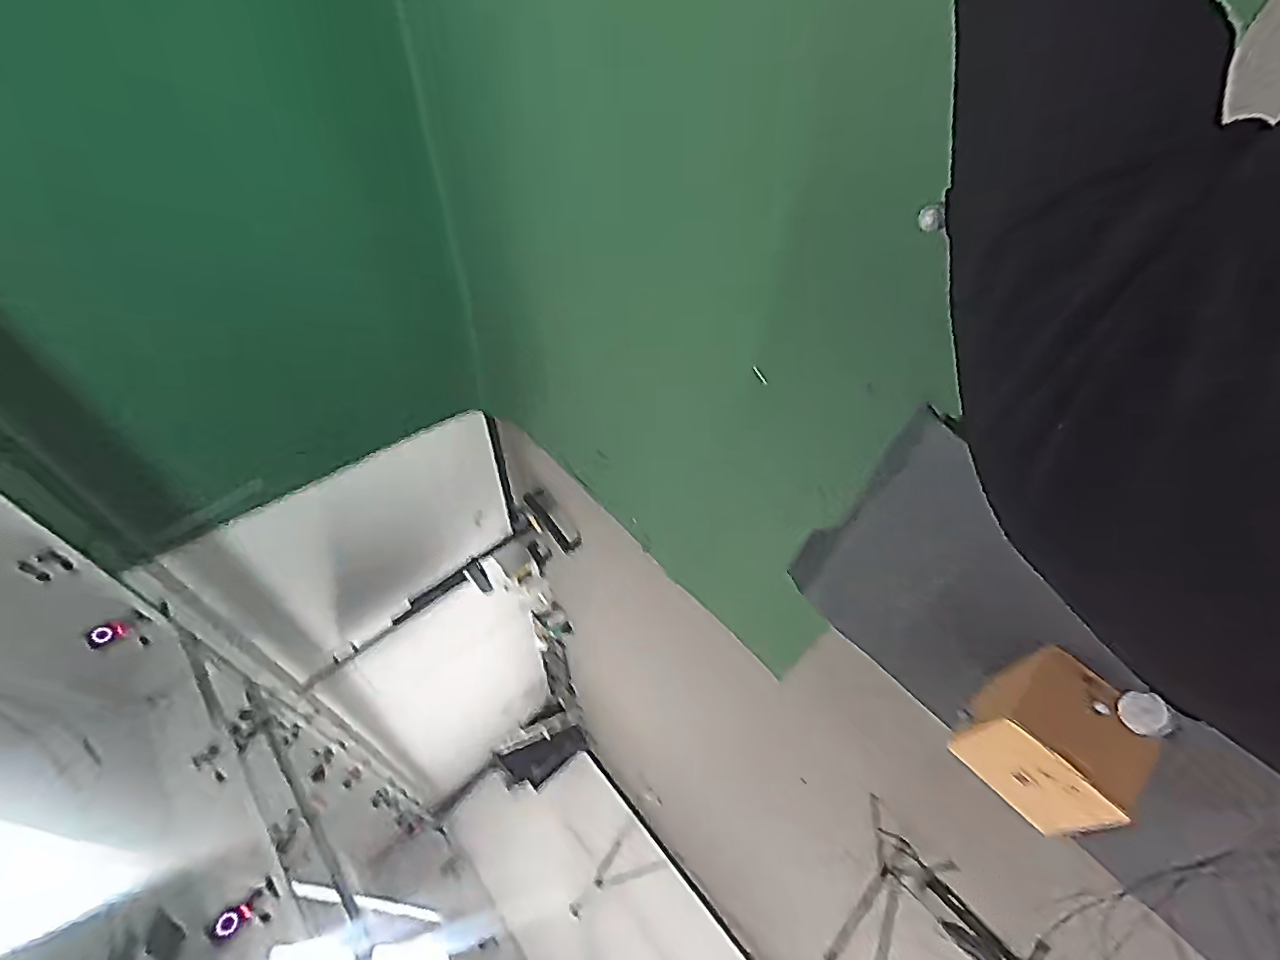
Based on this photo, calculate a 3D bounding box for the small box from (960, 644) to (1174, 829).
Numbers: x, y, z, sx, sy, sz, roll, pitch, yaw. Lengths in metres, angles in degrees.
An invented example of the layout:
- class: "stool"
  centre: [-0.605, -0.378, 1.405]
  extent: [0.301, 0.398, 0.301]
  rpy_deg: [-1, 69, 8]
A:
- class: "small box"
  centre: [0.642, 0.386, 0.821]
  extent: [0.168, 0.176, 0.179]
  rpy_deg: [43, 150, 26]
